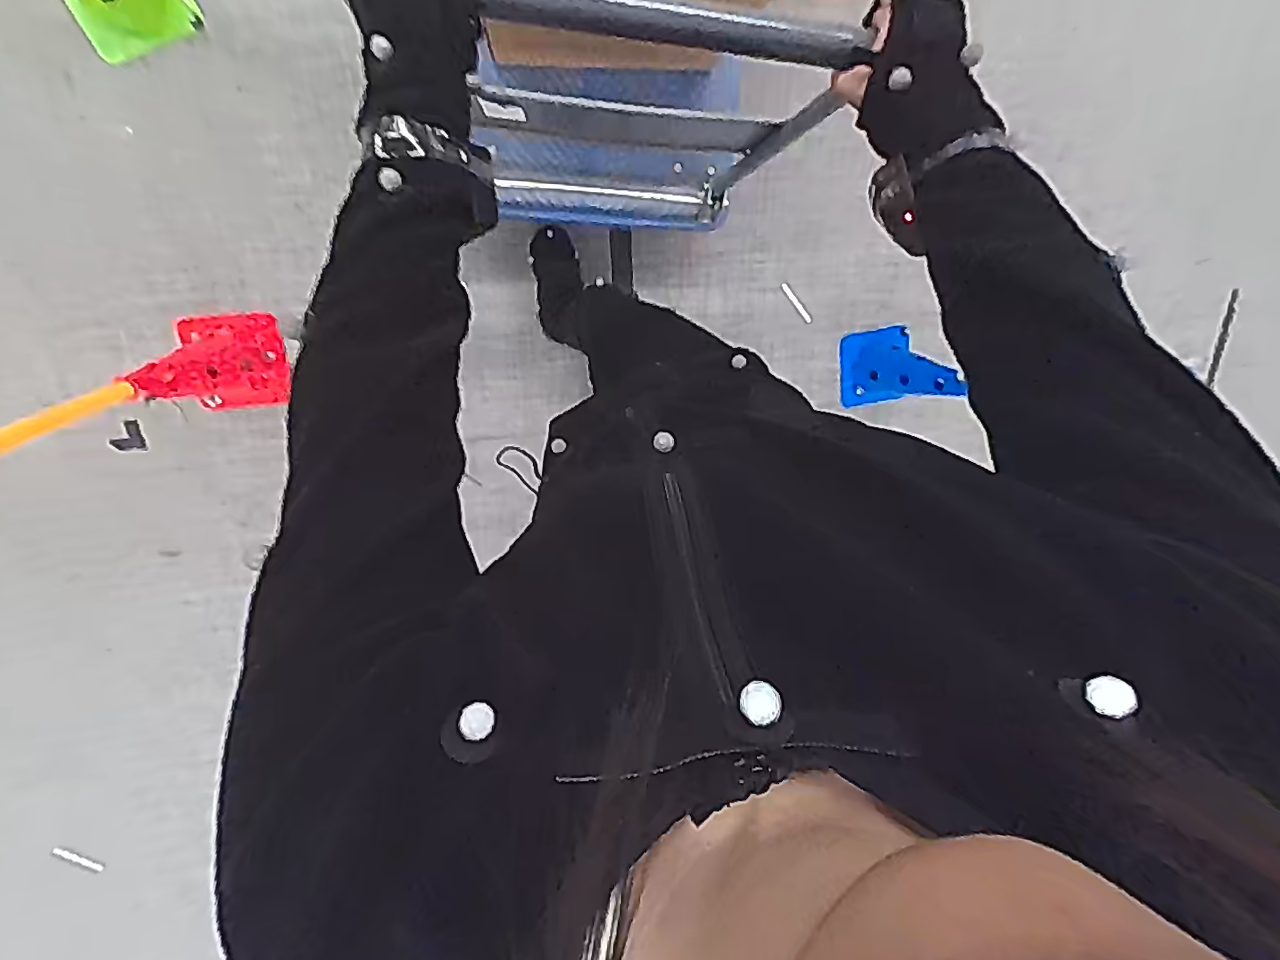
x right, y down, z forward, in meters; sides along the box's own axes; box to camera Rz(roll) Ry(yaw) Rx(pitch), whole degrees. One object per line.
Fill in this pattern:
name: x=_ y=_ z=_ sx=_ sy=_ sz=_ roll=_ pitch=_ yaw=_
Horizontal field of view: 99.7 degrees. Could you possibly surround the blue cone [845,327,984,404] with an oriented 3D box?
blue cone: x=0.672 y=-0.257 z=1.305 sx=0.193 sy=0.380 sz=0.192 roll=-10 pitch=109 yaw=-8
